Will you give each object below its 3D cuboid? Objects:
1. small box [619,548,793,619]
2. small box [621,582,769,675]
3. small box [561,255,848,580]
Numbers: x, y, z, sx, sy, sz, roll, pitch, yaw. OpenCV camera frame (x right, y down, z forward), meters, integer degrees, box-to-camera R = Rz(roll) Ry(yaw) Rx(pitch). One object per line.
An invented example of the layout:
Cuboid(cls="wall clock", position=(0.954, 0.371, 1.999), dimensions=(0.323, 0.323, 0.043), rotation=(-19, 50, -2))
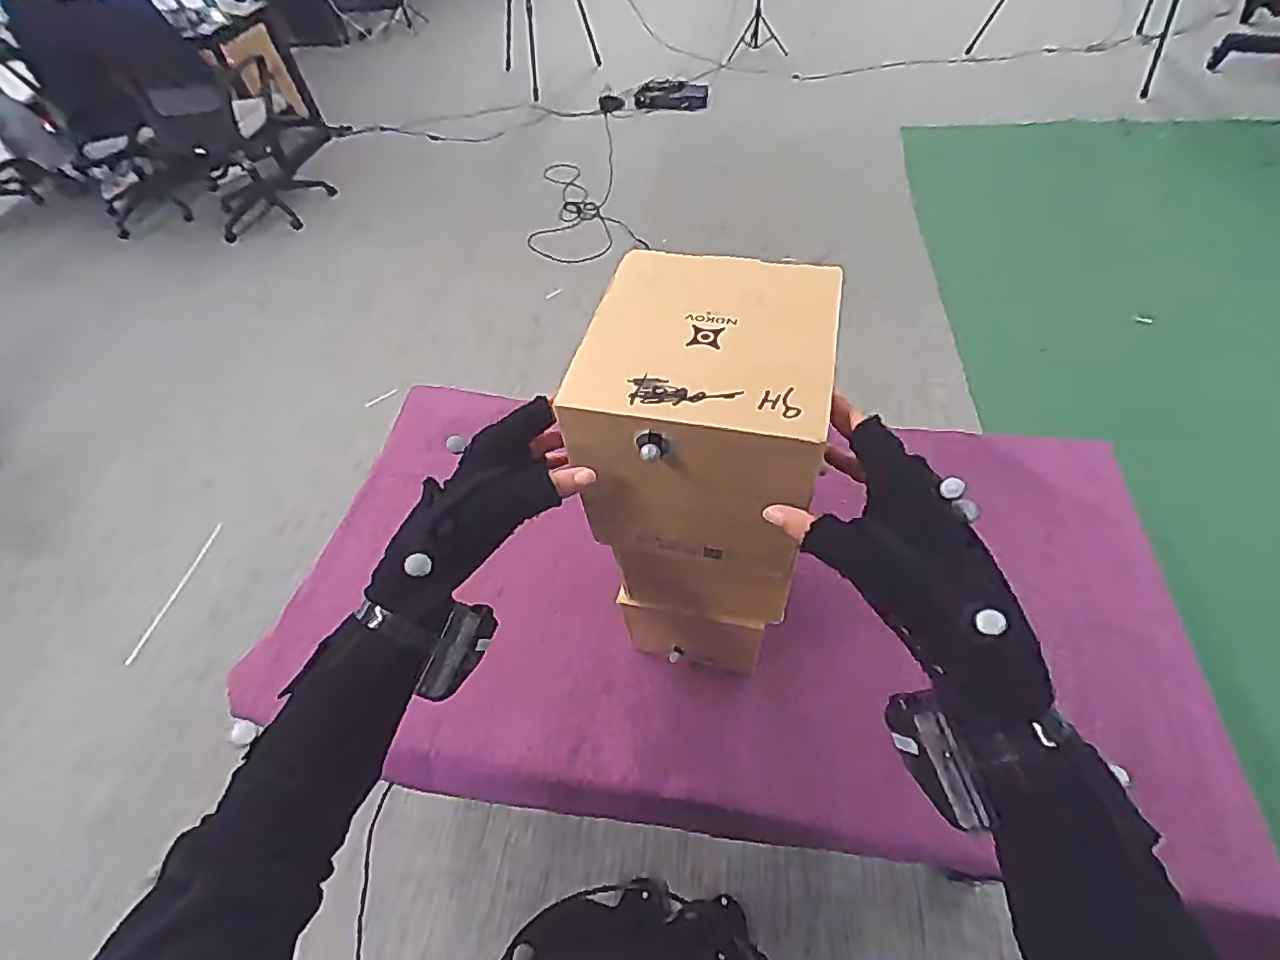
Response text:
Cuboid(cls="small box", position=(0.076, 0.030, 0.568), dimensions=(0.179, 0.176, 0.168), rotation=(7, 54, 11))
Cuboid(cls="small box", position=(0.083, 0.127, 0.698), dimensions=(0.168, 0.176, 0.179), rotation=(8, 56, 13))
Cuboid(cls="small box", position=(0.056, -0.049, 0.424), dimensions=(0.168, 0.176, 0.179), rotation=(9, 54, 13))
